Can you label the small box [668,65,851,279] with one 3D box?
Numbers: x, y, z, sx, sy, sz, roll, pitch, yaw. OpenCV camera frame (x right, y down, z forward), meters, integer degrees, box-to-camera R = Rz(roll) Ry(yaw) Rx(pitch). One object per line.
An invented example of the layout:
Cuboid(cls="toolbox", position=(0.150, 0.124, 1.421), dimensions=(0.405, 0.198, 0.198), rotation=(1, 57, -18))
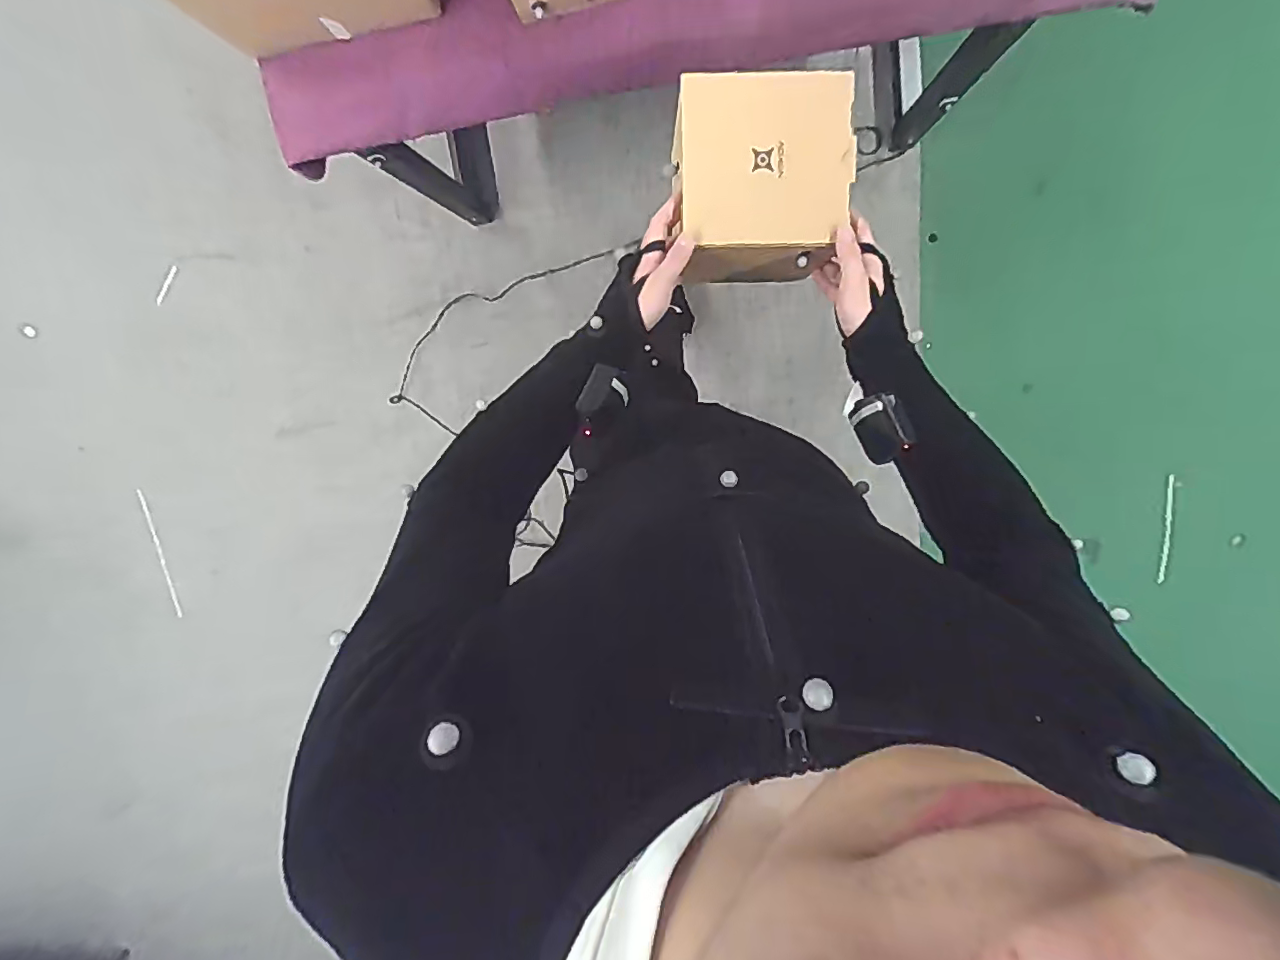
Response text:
Cuboid(cls="small box", position=(0.122, -0.335, 0.620), dimensions=(0.179, 0.176, 0.168), rotation=(-1, 97, -1))
